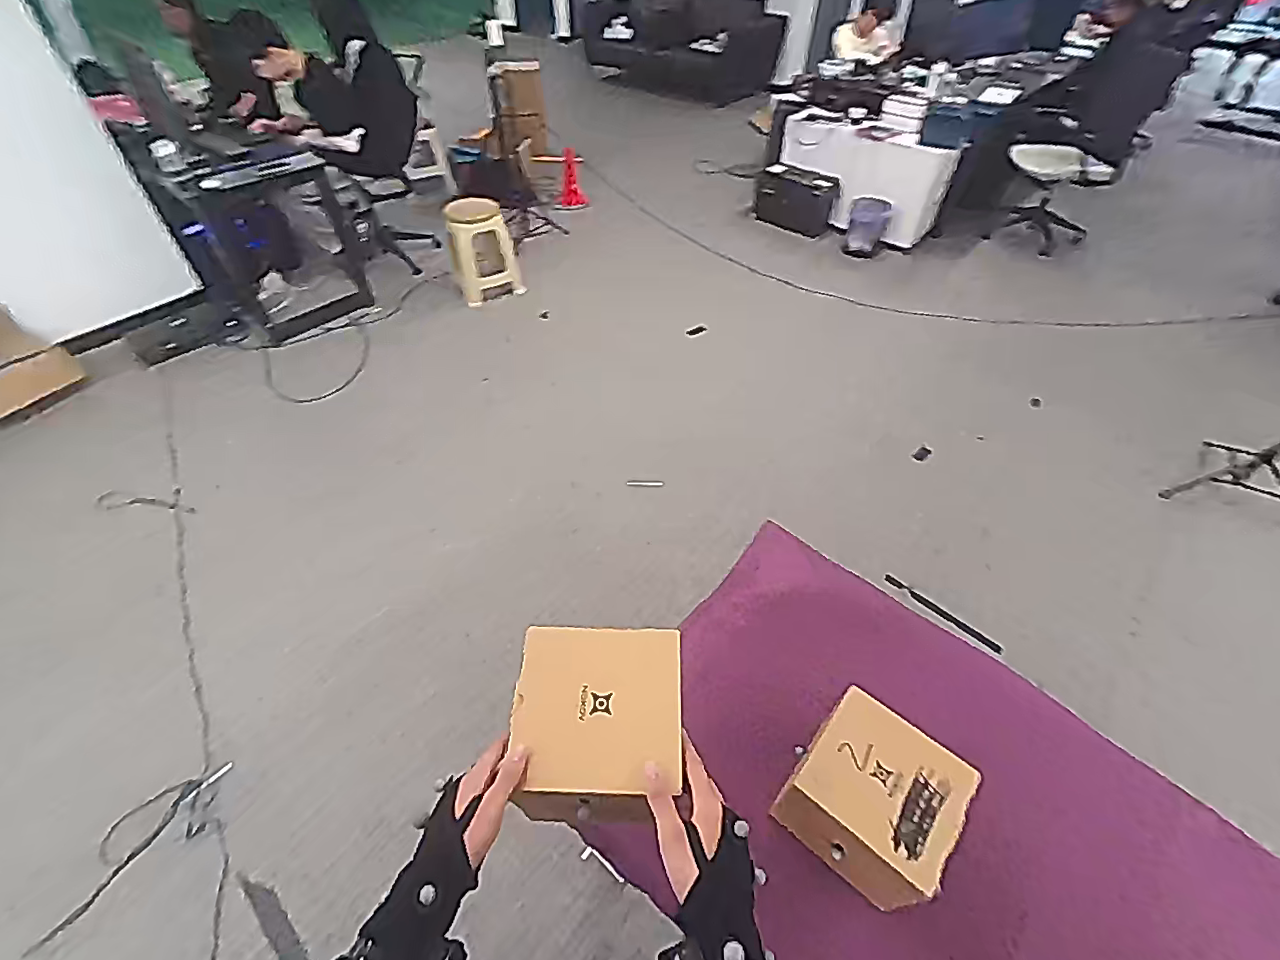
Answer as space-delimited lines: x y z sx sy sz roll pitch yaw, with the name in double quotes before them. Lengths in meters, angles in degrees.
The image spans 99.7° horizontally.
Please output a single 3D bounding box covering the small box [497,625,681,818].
"small box" -0.045 0.280 0.622 0.179 0.176 0.168 0 50 3
